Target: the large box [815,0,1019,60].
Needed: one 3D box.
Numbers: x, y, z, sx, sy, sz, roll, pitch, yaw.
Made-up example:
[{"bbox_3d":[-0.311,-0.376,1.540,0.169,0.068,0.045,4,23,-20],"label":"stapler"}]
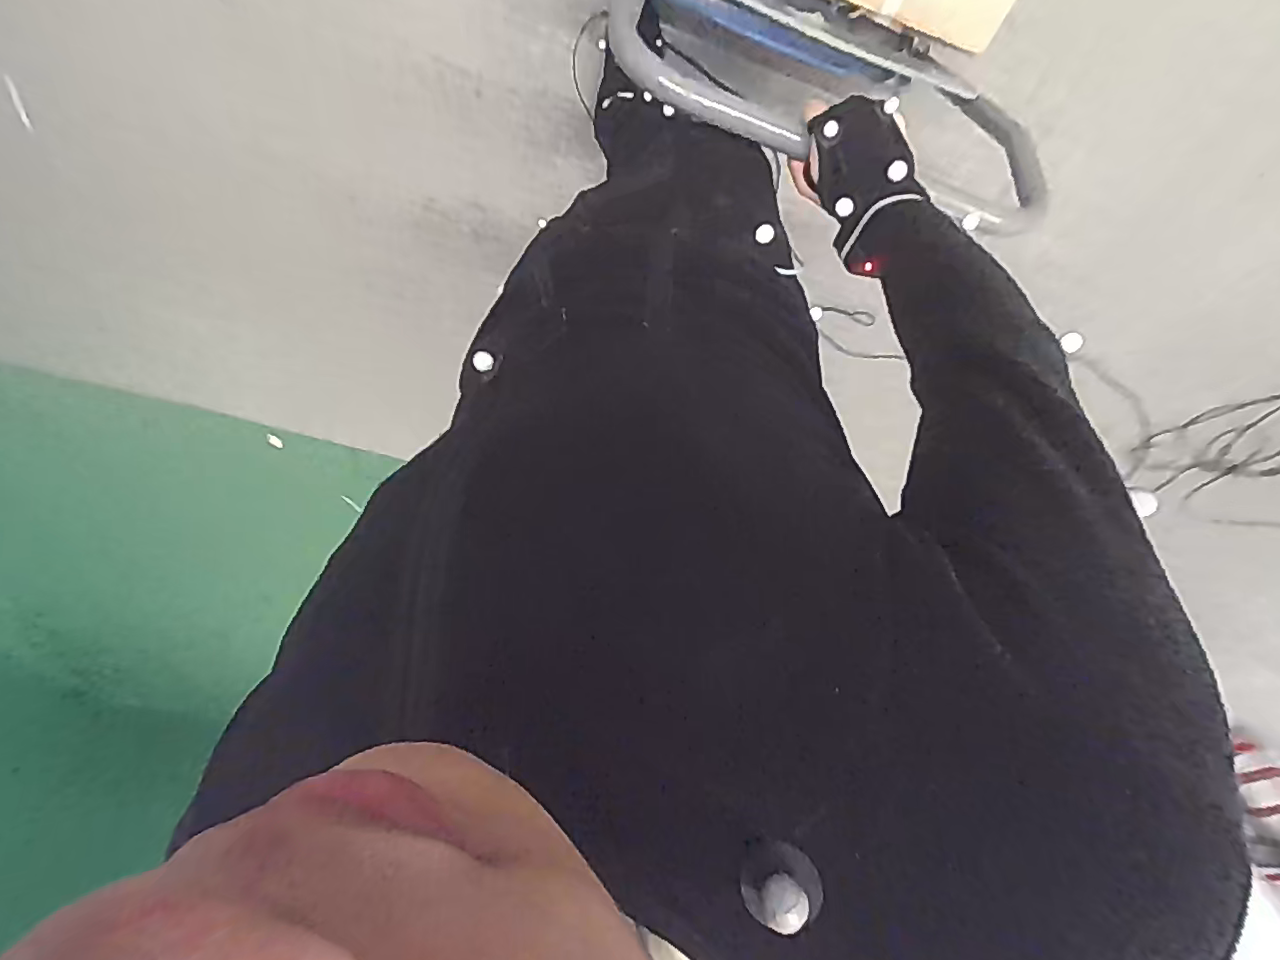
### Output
[{"bbox_3d":[0.405,-0.867,0.719,0.320,0.320,0.408,14,133,-10],"label":"large box"}]
